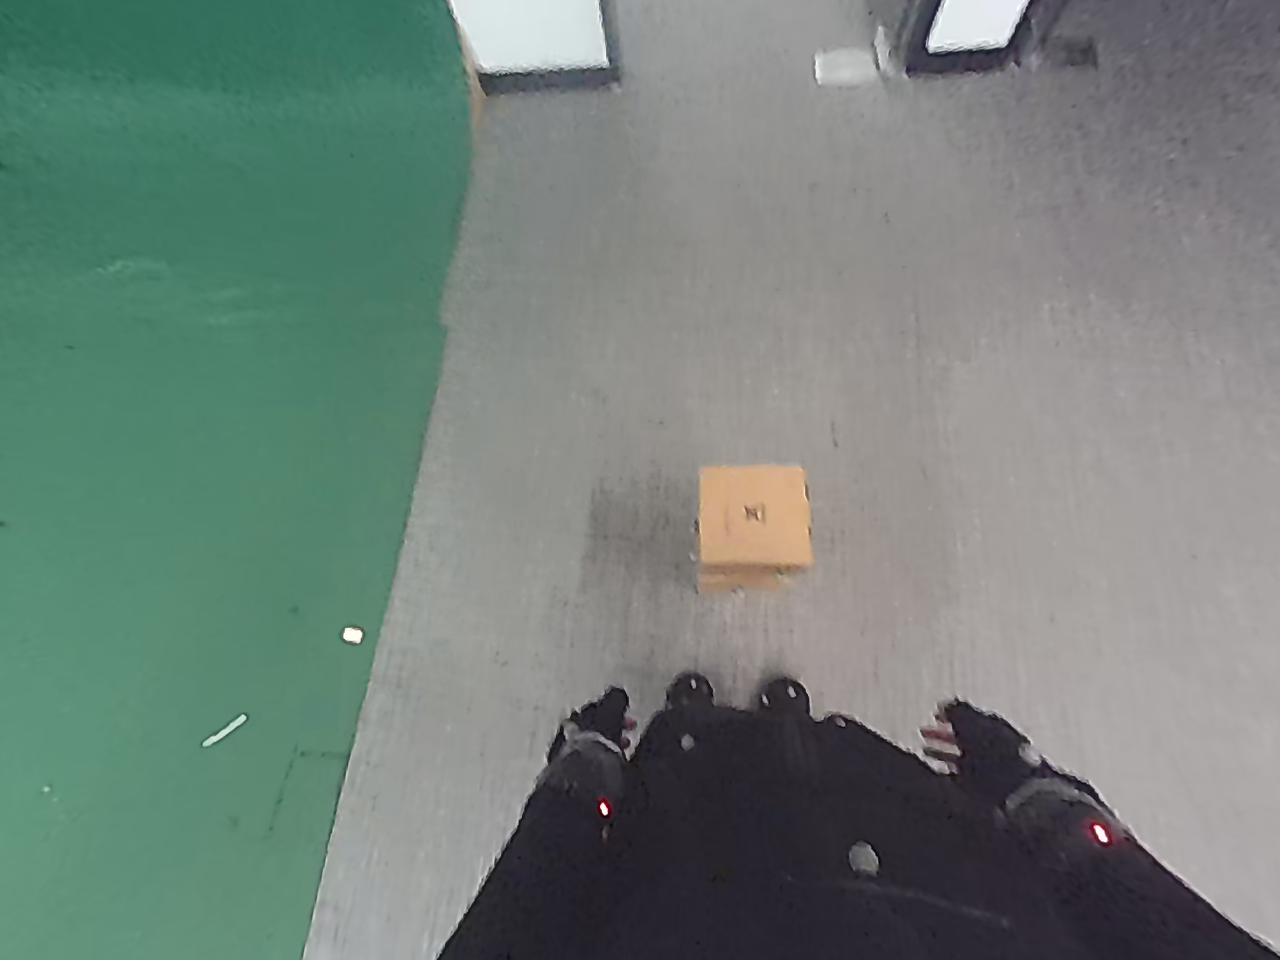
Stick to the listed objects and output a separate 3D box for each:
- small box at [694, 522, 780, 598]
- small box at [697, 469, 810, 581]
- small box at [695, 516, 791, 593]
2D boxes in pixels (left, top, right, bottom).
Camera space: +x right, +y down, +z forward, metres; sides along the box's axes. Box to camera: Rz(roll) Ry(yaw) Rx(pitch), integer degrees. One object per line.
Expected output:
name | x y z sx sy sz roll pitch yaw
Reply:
small box | 0.220 0.183 1.261 0.179 0.176 0.168 -5 72 4
small box | 0.190 0.084 0.953 0.179 0.176 0.168 -2 71 7
small box | 0.202 0.138 1.105 0.179 0.176 0.168 -1 72 6
